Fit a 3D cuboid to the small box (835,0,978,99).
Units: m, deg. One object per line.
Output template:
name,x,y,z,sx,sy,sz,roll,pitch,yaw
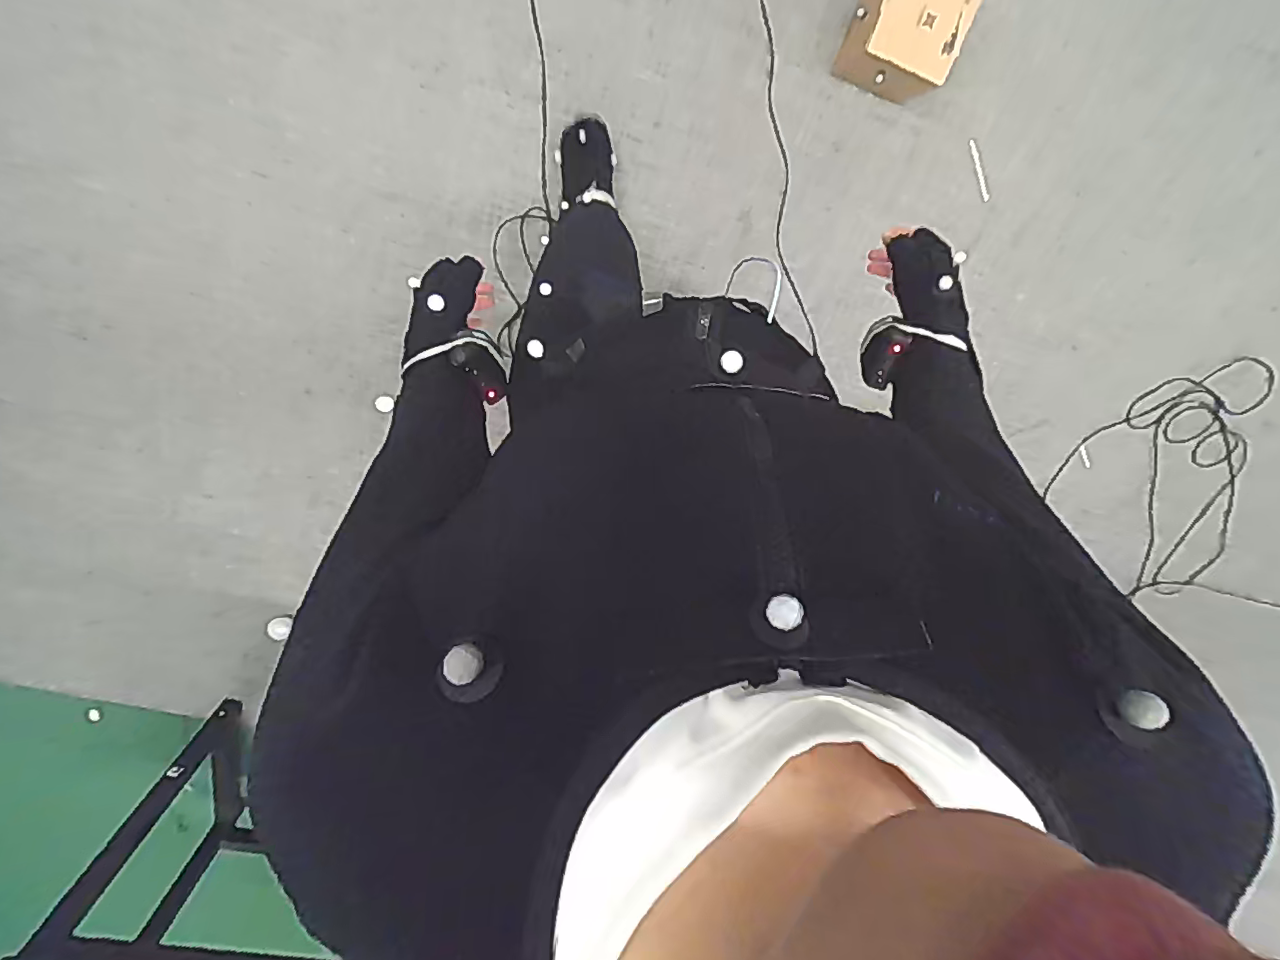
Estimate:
small box,0.519,-0.891,1.072,0.179,0.176,0.168,16,113,-10
